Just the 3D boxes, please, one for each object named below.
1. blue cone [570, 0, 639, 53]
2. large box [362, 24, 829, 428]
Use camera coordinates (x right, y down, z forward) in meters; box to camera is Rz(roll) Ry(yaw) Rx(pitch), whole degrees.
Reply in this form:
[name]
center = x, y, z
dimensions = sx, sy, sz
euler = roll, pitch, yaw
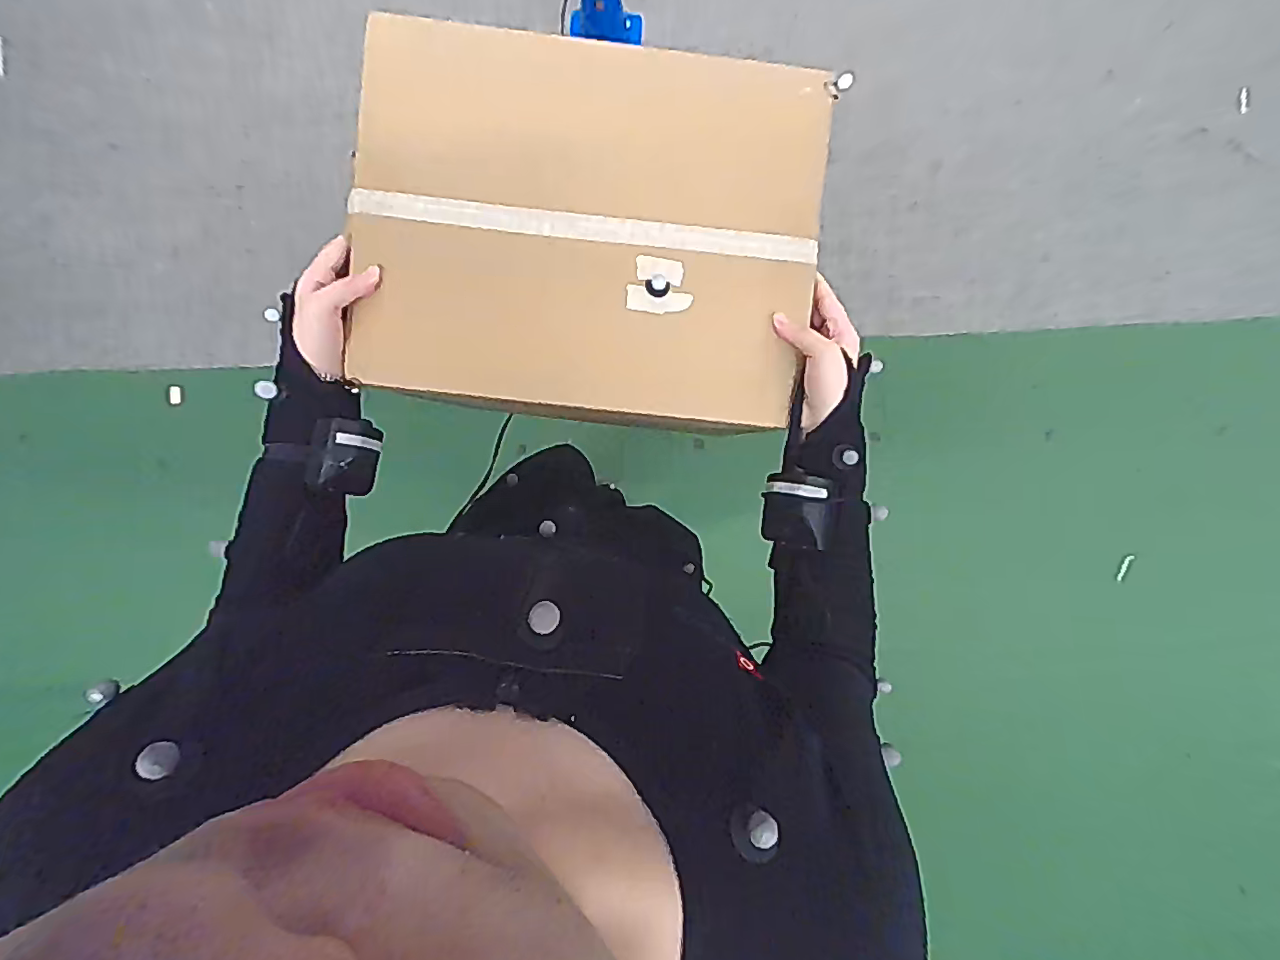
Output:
[blue cone]
center = -0.098, -1.185, 1.334
dimensions = 0.193, 0.380, 0.192
euler = 6, 91, -1
[large box]
center = -0.047, -0.235, 0.631
dimensions = 0.408, 0.320, 0.320
euler = 5, 94, -3
